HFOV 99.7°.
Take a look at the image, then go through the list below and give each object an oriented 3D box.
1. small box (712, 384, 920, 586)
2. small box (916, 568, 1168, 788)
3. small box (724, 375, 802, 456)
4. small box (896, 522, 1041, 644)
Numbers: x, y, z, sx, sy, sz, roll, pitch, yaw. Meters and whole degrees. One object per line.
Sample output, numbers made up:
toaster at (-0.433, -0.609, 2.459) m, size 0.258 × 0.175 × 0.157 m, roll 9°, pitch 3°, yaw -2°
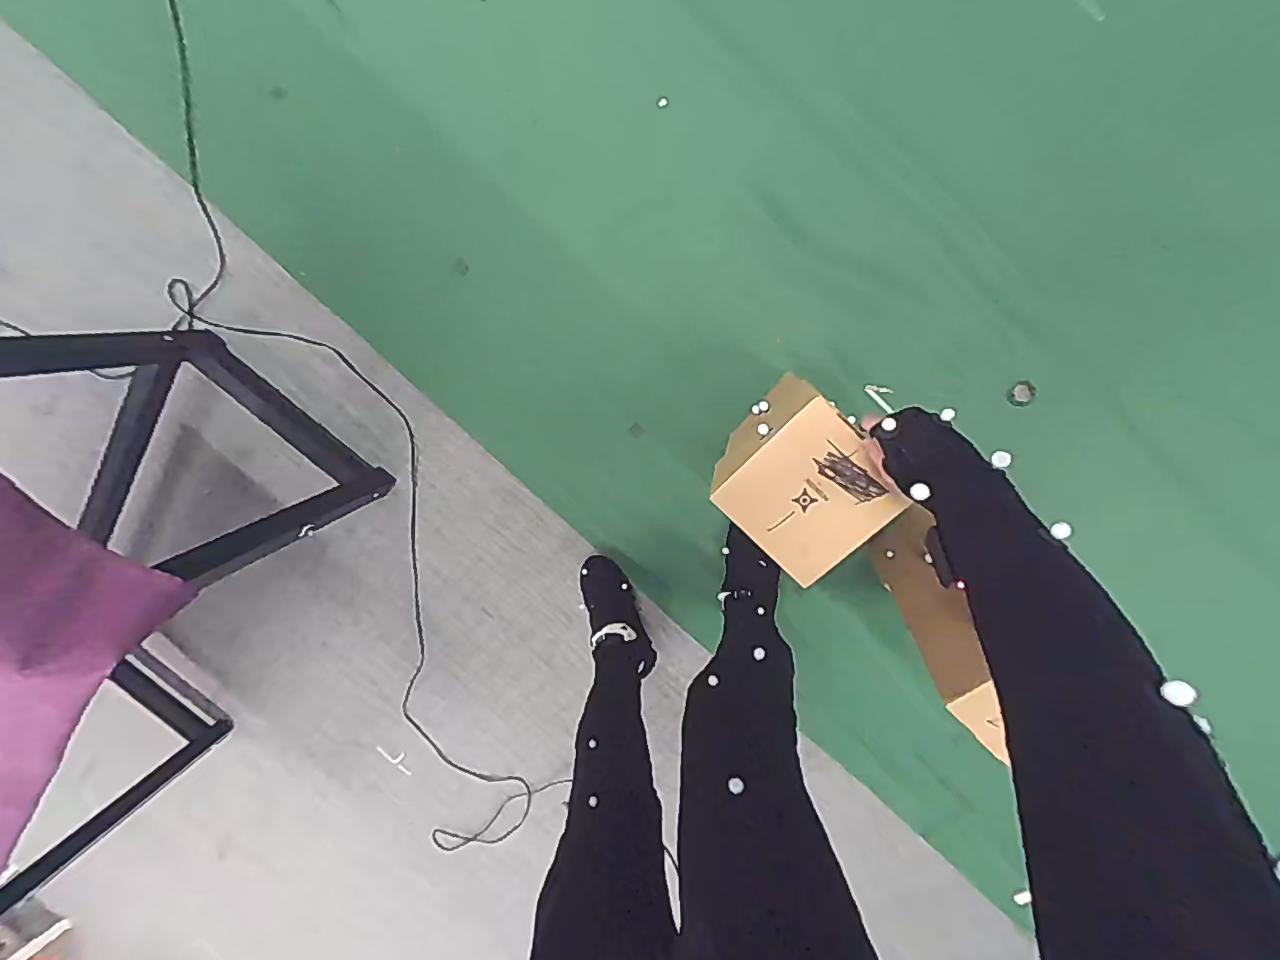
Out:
small box at (0.212, -0.005, 0.698) m, size 0.168 × 0.176 × 0.179 m, roll 44°, pitch 109°, yaw -3°
small box at (0.502, 0.248, 0.710) m, size 0.168 × 0.176 × 0.179 m, roll 44°, pitch 112°, yaw -4°
small box at (0.279, -0.076, 1.009) m, size 0.168 × 0.176 × 0.179 m, roll 40°, pitch 110°, yaw -2°
small box at (0.537, 0.200, 0.864) m, size 0.168 × 0.176 × 0.179 m, roll 43°, pitch 113°, yaw -4°
